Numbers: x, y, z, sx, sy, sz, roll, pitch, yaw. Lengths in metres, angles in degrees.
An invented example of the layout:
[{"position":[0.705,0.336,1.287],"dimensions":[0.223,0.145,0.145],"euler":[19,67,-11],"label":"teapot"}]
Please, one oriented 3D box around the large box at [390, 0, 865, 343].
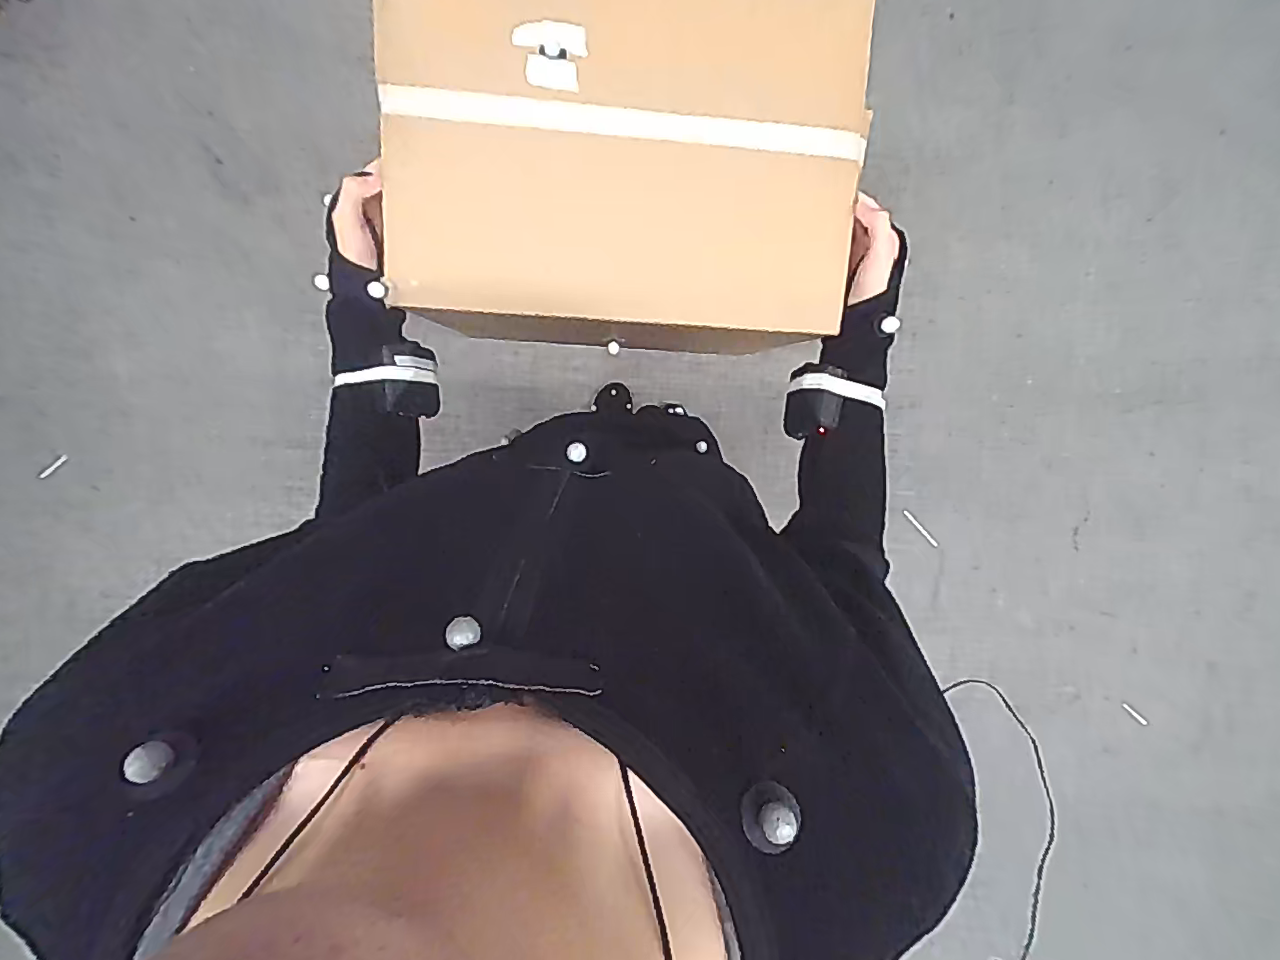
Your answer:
[{"position":[-0.020,-0.326,0.613],"dimensions":[0.408,0.320,0.320],"euler":[2,100,-5],"label":"large box"}]
